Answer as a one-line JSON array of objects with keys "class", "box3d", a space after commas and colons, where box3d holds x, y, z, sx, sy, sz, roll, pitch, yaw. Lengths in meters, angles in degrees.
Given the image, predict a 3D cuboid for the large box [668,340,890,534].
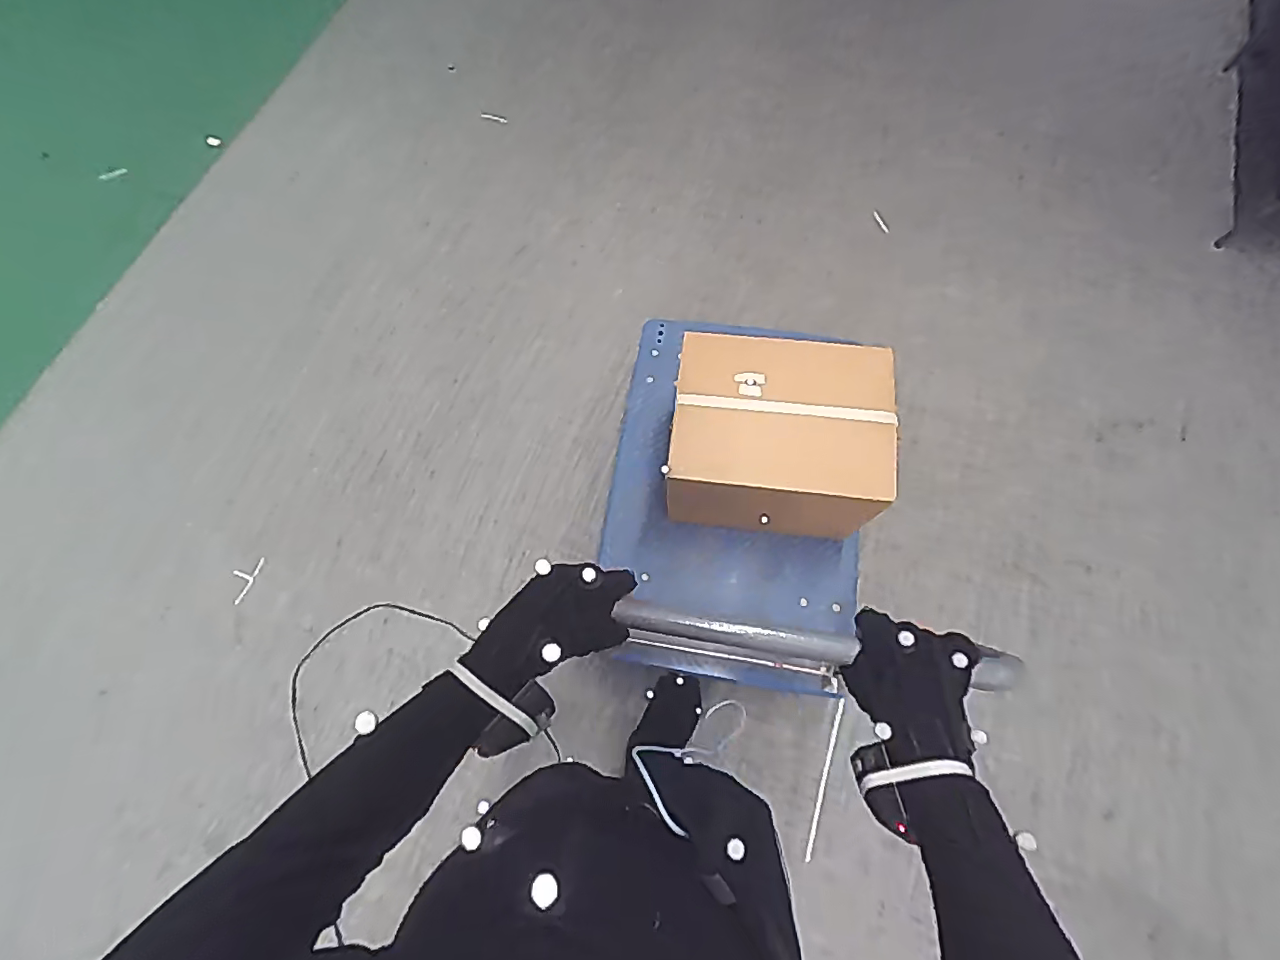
[{"class": "large box", "box3d": [0.276, -0.077, 1.164, 0.408, 0.320, 0.320, 5, 71, 6]}]
